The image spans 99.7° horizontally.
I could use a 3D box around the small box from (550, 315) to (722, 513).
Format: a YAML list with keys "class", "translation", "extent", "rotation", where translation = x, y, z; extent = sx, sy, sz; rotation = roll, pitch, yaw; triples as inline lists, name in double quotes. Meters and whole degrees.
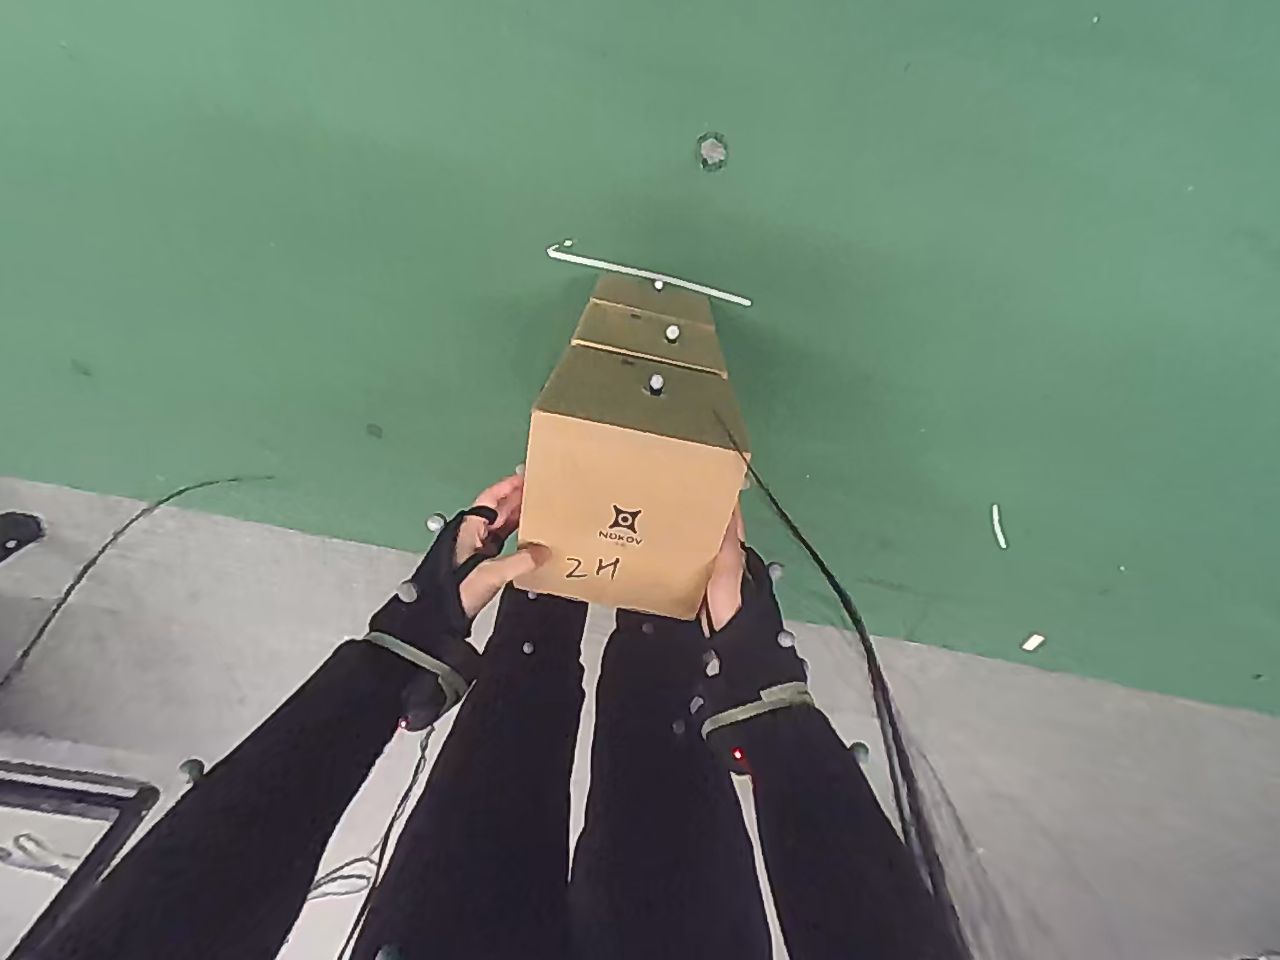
- class: "small box"
  translation: [-0.009, -0.088, 0.668]
  extent: [0.168, 0.176, 0.179]
  rotation: [11, 122, -5]
